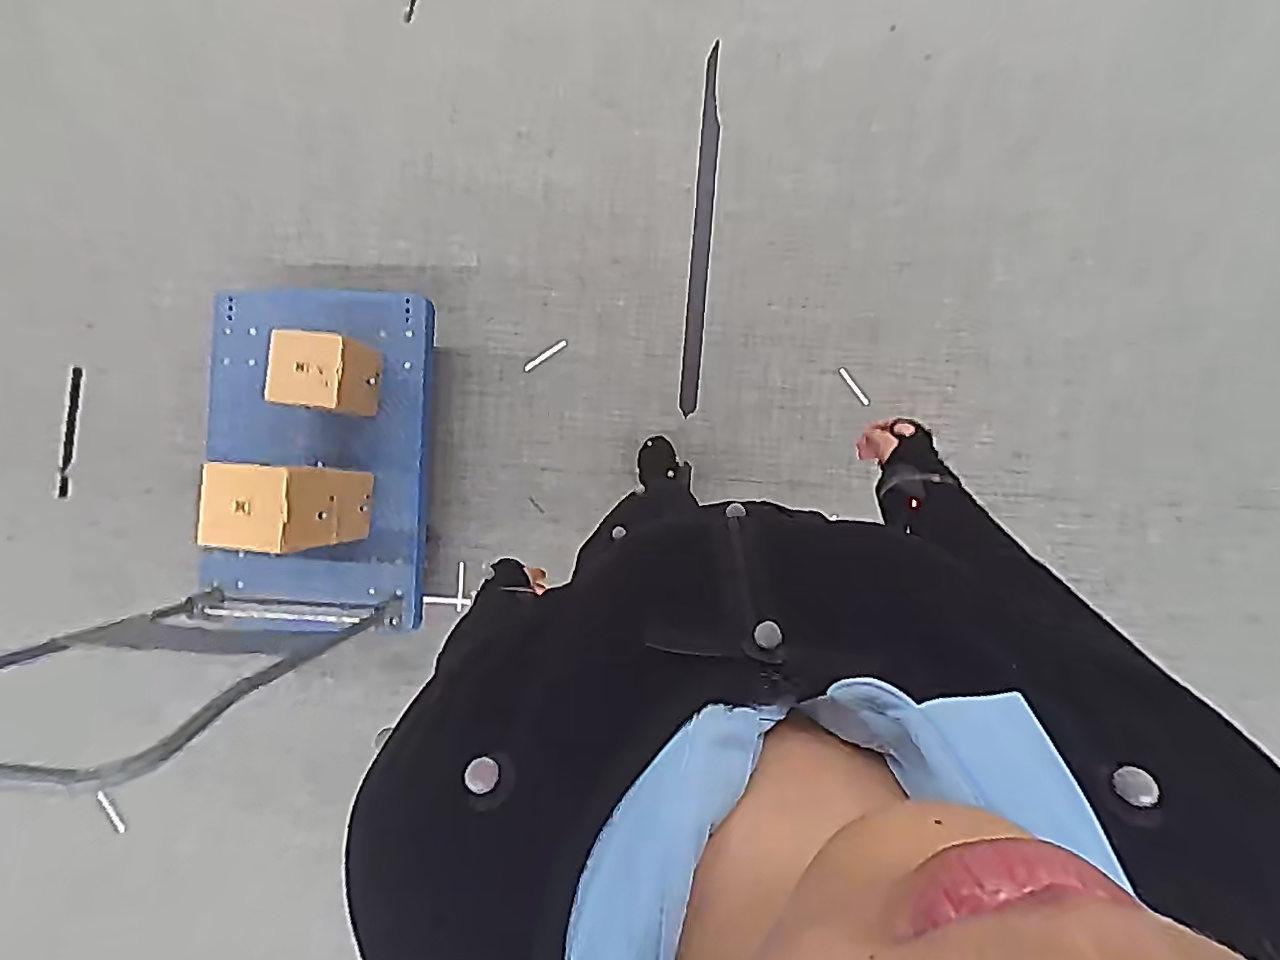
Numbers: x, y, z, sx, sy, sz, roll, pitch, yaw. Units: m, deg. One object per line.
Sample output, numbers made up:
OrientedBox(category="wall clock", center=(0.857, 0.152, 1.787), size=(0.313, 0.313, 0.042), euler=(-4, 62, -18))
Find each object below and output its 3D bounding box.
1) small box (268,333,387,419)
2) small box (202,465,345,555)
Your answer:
OrientedBox(category="small box", center=(-0.740, -0.243, 1.295), size=(0.179, 0.176, 0.168), euler=(6, 90, 4))
OrientedBox(category="small box", center=(-0.755, 0.061, 1.127), size=(0.179, 0.176, 0.168), euler=(4, 89, 3))
